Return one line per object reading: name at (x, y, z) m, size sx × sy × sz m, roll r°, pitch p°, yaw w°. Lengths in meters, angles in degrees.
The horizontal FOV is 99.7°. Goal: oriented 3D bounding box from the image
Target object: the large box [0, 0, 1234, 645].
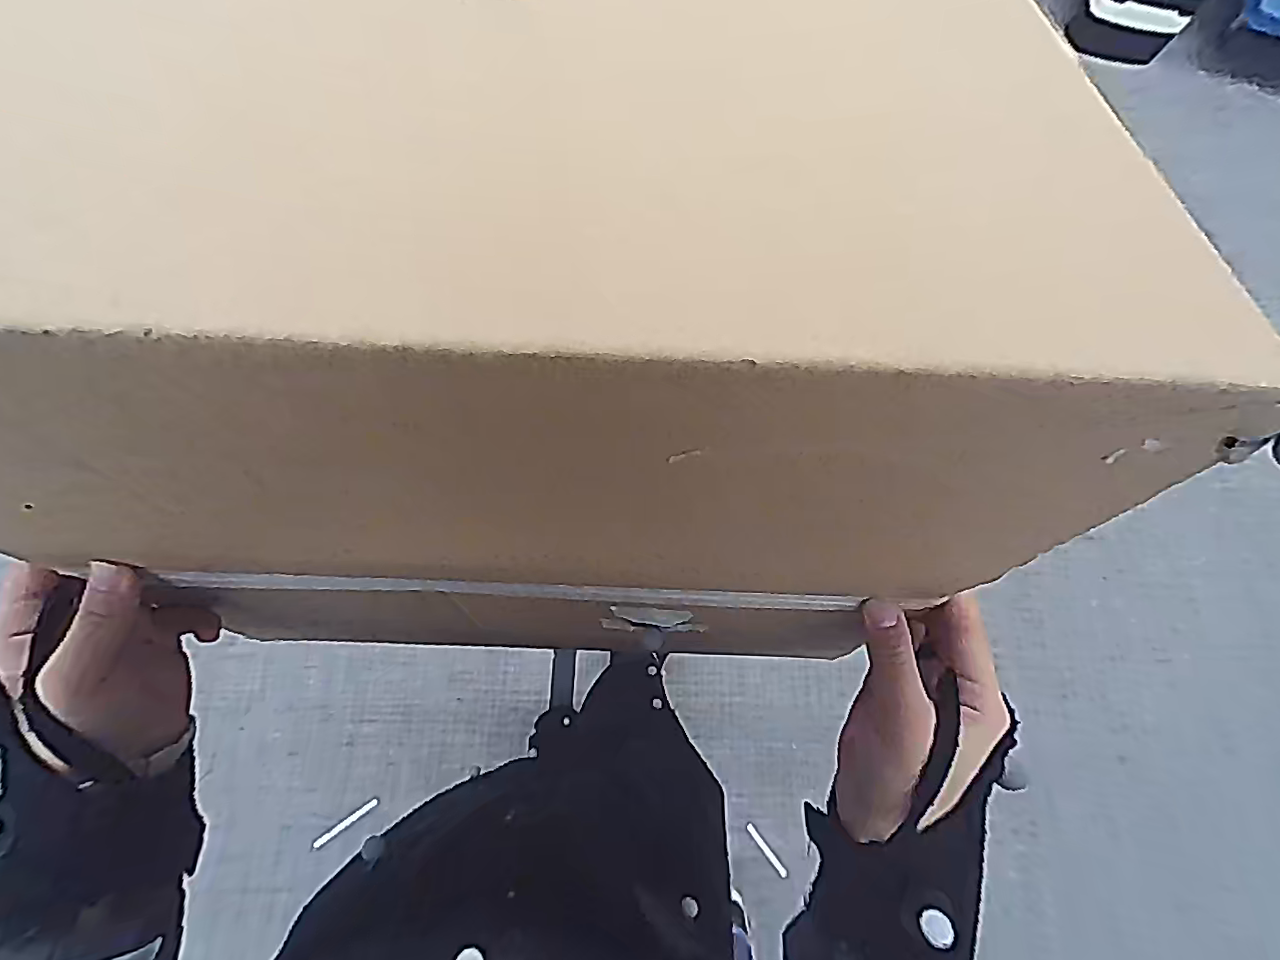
large box at (-0.057, -0.089, 0.329) m, size 0.408 × 0.320 × 0.320 m, roll 2°, pitch 63°, yaw -2°
